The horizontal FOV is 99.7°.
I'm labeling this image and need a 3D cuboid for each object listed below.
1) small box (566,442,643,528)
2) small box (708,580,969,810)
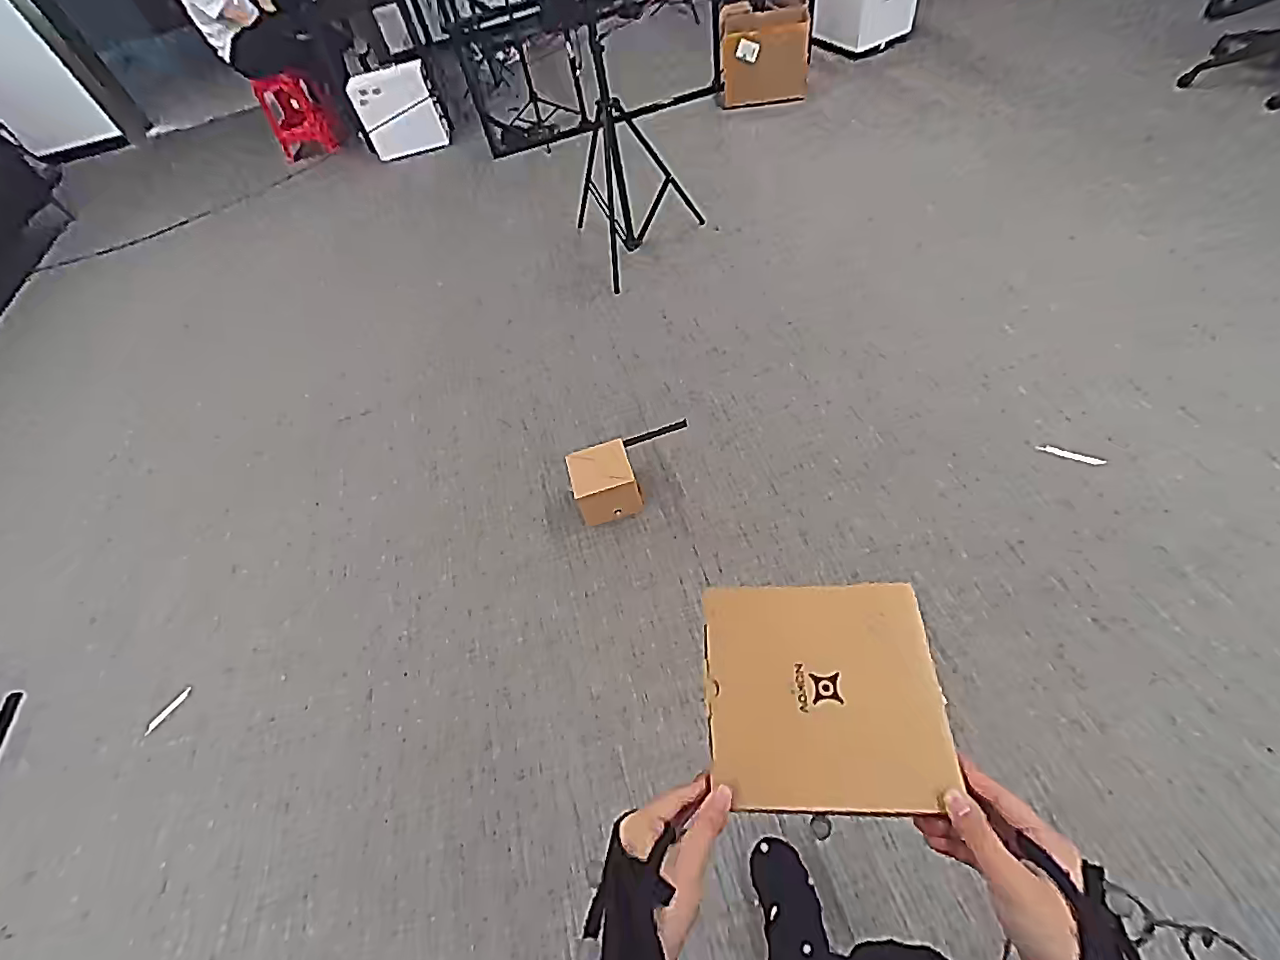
[{"bbox_3d":[-0.104,0.012,1.608,0.179,0.176,0.168,-17,54,-2],"label":"small box"},{"bbox_3d":[0.152,0.197,0.486,0.179,0.176,0.168,-3,58,8],"label":"small box"}]
